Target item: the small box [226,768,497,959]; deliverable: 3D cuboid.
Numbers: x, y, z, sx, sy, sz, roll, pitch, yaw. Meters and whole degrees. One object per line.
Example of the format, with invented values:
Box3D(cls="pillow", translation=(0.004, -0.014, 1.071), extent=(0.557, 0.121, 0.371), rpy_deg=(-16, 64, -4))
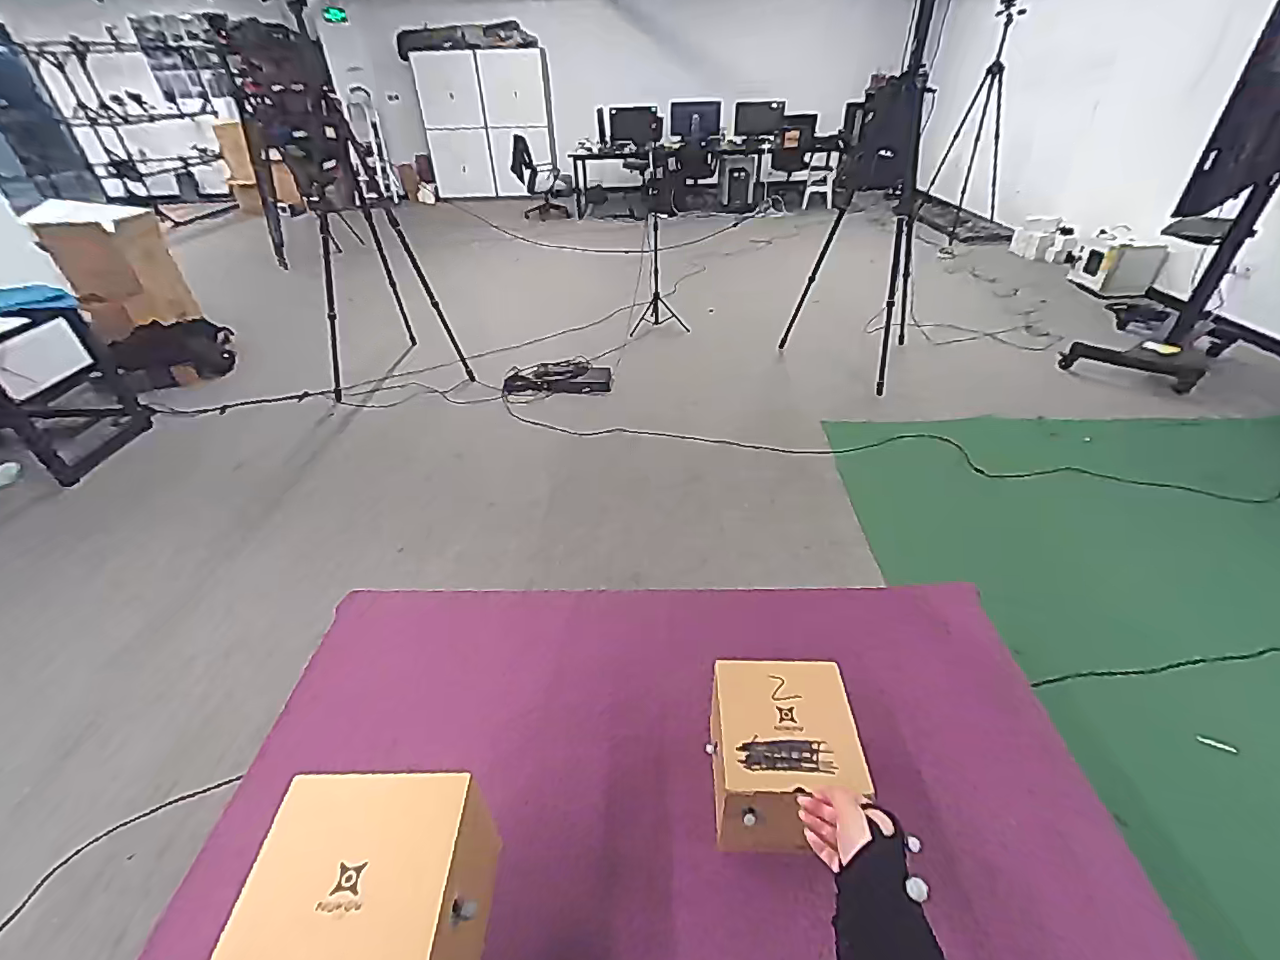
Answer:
Box3D(cls="small box", translation=(-0.238, 0.398, 0.506), extent=(0.168, 0.176, 0.179), rpy_deg=(-3, 41, -1))
